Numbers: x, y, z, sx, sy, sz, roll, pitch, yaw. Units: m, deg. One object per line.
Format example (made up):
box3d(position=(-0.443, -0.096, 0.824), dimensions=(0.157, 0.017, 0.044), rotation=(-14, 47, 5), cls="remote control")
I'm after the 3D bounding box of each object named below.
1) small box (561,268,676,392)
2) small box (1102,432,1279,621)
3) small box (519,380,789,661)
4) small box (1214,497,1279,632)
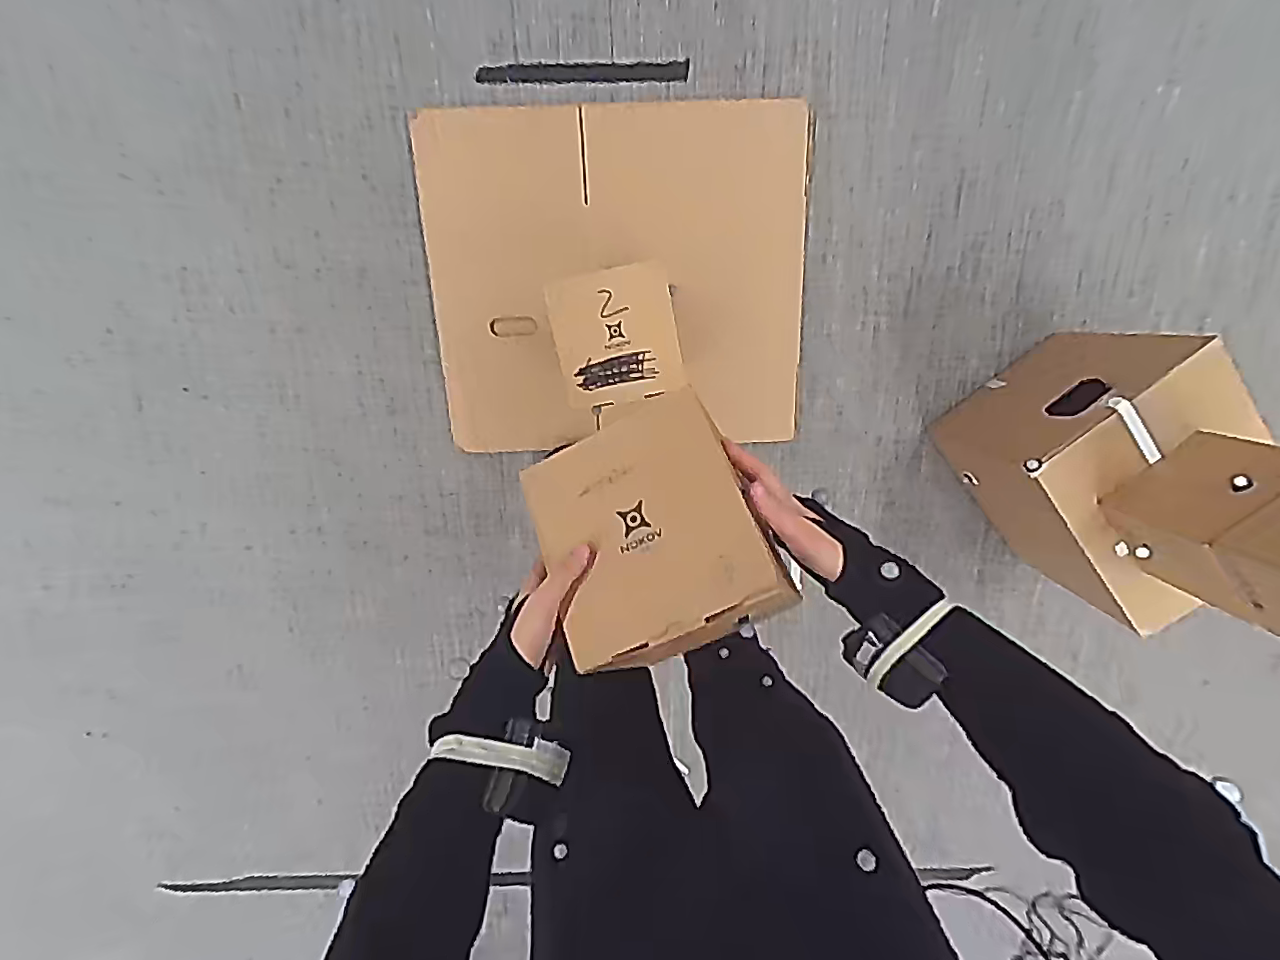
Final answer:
box3d(position=(-0.034, -0.265, 0.956), dimensions=(0.168, 0.176, 0.179), rotation=(-9, 107, 4), cls="small box")
box3d(position=(0.827, 0.055, 0.765), dimensions=(0.179, 0.176, 0.168), rotation=(-40, 104, 11), cls="small box")
box3d(position=(0.022, 0.047, 0.492), dimensions=(0.168, 0.176, 0.179), rotation=(-27, 67, 11), cls="small box")
box3d(position=(0.834, 0.101, 0.608), dimensions=(0.179, 0.176, 0.168), rotation=(-40, 104, 9), cls="small box")
